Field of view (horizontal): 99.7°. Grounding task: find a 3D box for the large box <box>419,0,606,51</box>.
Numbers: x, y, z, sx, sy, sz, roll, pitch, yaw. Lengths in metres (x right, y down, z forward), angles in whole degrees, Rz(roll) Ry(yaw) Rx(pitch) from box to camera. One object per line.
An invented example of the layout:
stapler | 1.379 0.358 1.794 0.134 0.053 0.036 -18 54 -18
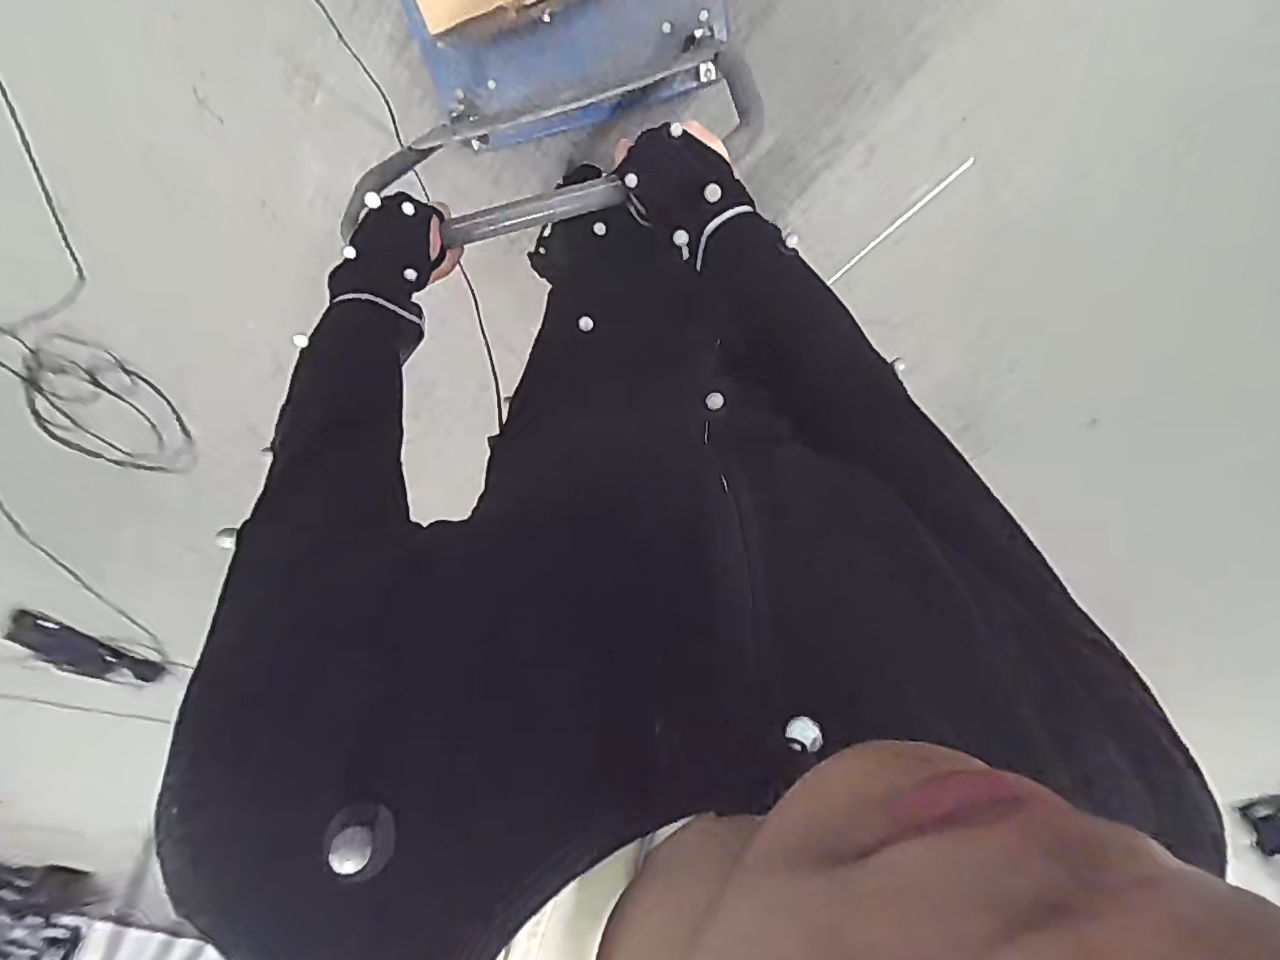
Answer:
large box | -0.201 -0.910 0.768 0.320 0.320 0.408 -12 127 12
